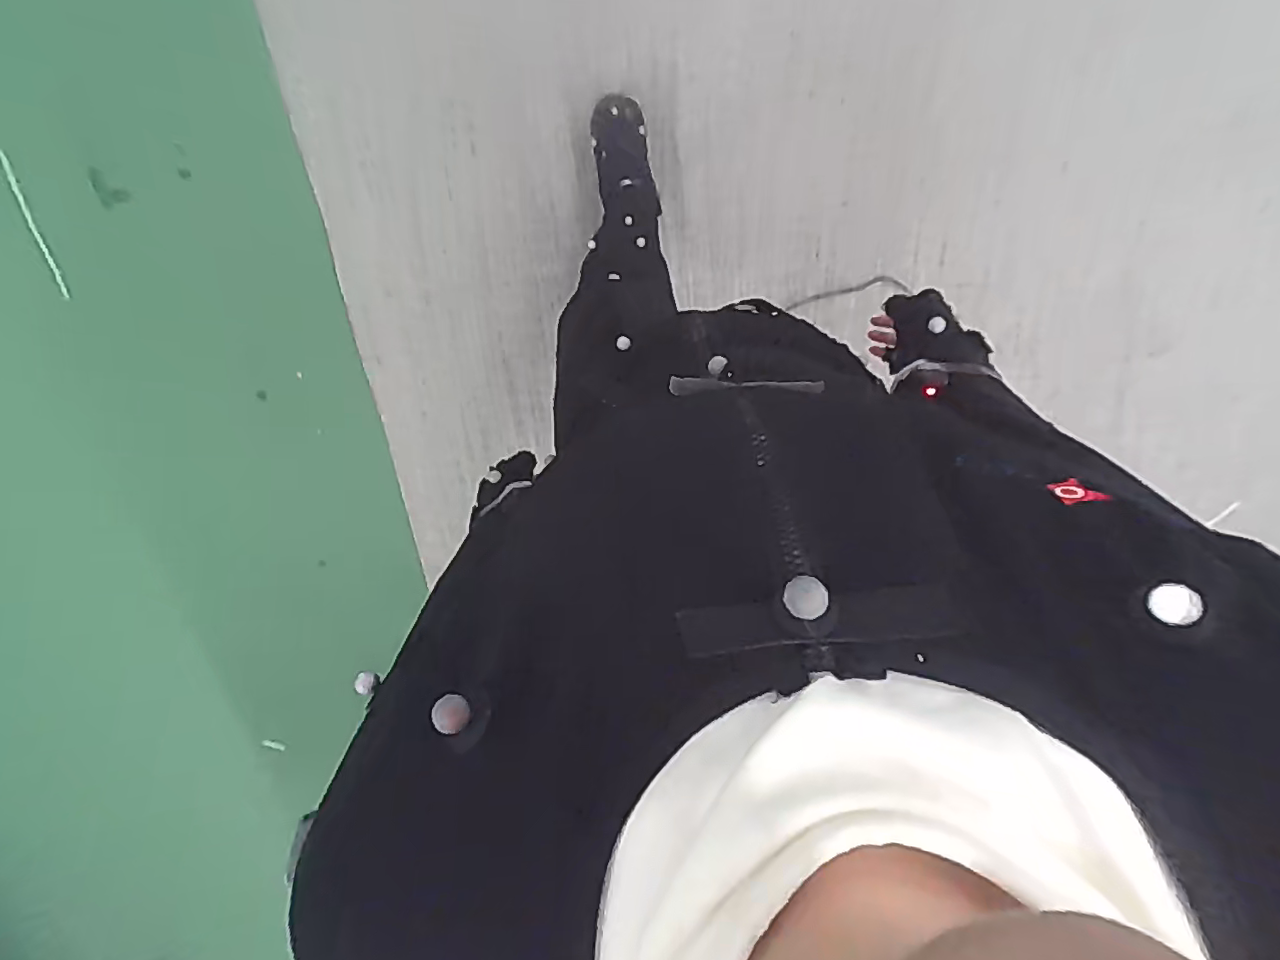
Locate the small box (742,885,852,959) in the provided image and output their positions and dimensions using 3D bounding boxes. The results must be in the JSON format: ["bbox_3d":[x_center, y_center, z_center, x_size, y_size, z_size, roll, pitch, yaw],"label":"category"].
[{"bbox_3d":[0.279,0.846,0.949,0.168,0.176,0.179,-10,115,6],"label":"small box"}]
